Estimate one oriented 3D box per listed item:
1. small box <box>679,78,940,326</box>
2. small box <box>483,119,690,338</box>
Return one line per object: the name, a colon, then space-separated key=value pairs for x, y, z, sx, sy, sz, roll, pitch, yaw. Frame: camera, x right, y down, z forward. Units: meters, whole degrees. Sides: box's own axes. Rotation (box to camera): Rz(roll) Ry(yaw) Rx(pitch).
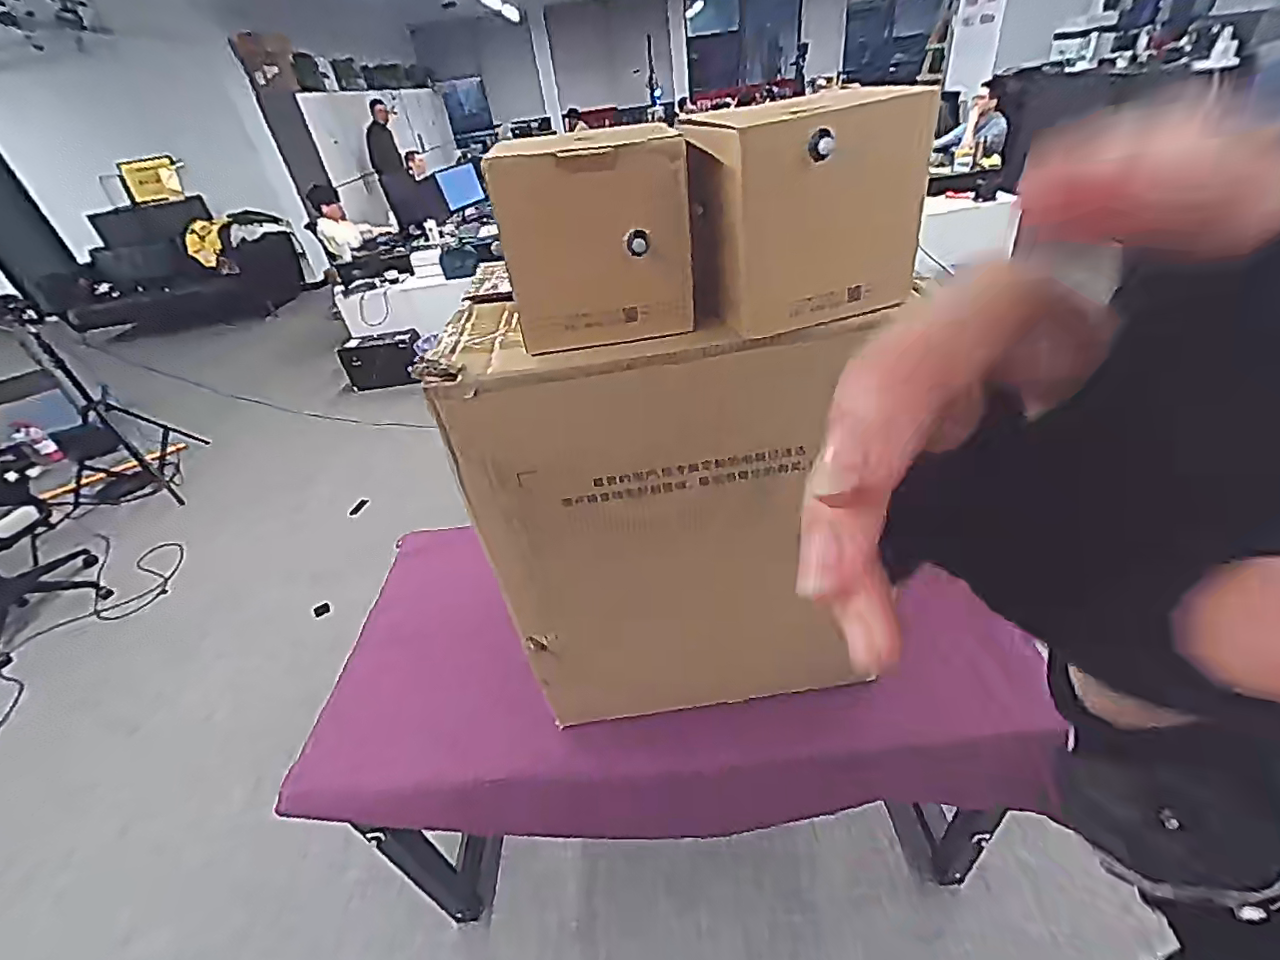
small box: x=0.143 y=-0.262 z=0.516 sx=0.168 sy=0.176 sz=0.179 roll=-15 pitch=35 yaw=-6
small box: x=-0.045 y=-0.249 z=0.542 sx=0.168 sy=0.176 sz=0.179 roll=-8 pitch=35 yaw=-3
